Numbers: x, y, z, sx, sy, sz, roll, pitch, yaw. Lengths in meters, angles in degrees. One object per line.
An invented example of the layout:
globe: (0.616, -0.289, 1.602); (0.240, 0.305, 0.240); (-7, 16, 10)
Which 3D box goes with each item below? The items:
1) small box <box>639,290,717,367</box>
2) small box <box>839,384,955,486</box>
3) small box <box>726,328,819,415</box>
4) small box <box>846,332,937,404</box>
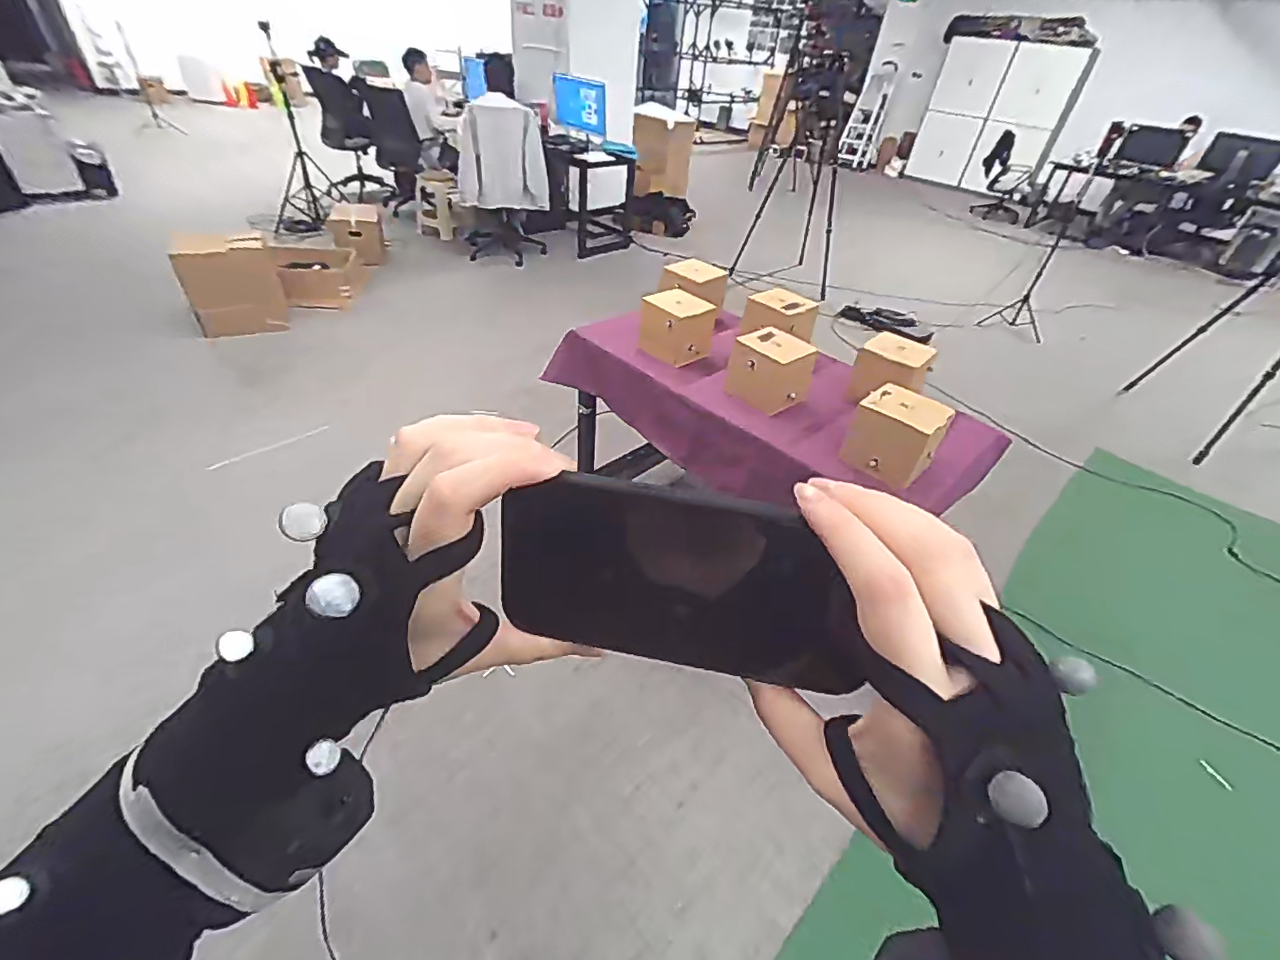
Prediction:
small box: (0.115, -0.482, 1.717); (0.168, 0.176, 0.179); (-28, 51, -35)
small box: (0.627, -0.106, 1.332); (0.179, 0.176, 0.168); (35, 47, 30)
small box: (0.371, -0.310, 1.545); (0.168, 0.176, 0.179); (-26, 50, -33)
small box: (0.733, -0.309, 1.591); (0.168, 0.176, 0.179); (33, 47, 29)
